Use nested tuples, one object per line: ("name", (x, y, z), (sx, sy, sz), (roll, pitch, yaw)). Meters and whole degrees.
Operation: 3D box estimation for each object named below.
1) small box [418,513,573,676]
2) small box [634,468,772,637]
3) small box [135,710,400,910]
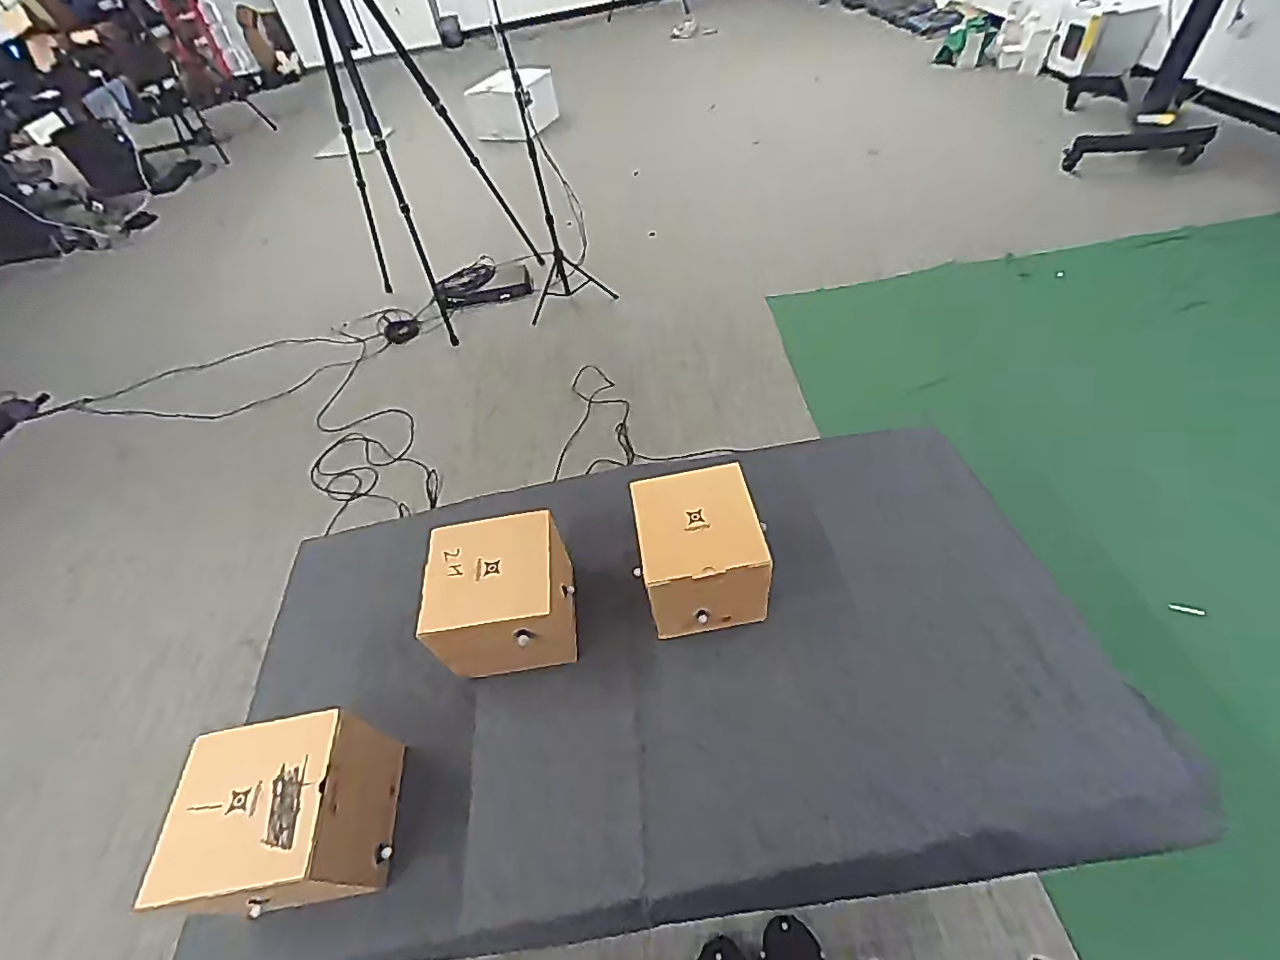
("small box", (-0.195, 0.171, 0.793), (0.179, 0.176, 0.168), (-9, 51, 1))
("small box", (0.087, 0.110, 0.805), (0.168, 0.176, 0.179), (-10, 51, 0))
("small box", (-0.412, 0.393, 0.641), (0.179, 0.176, 0.168), (-10, 49, 0))
